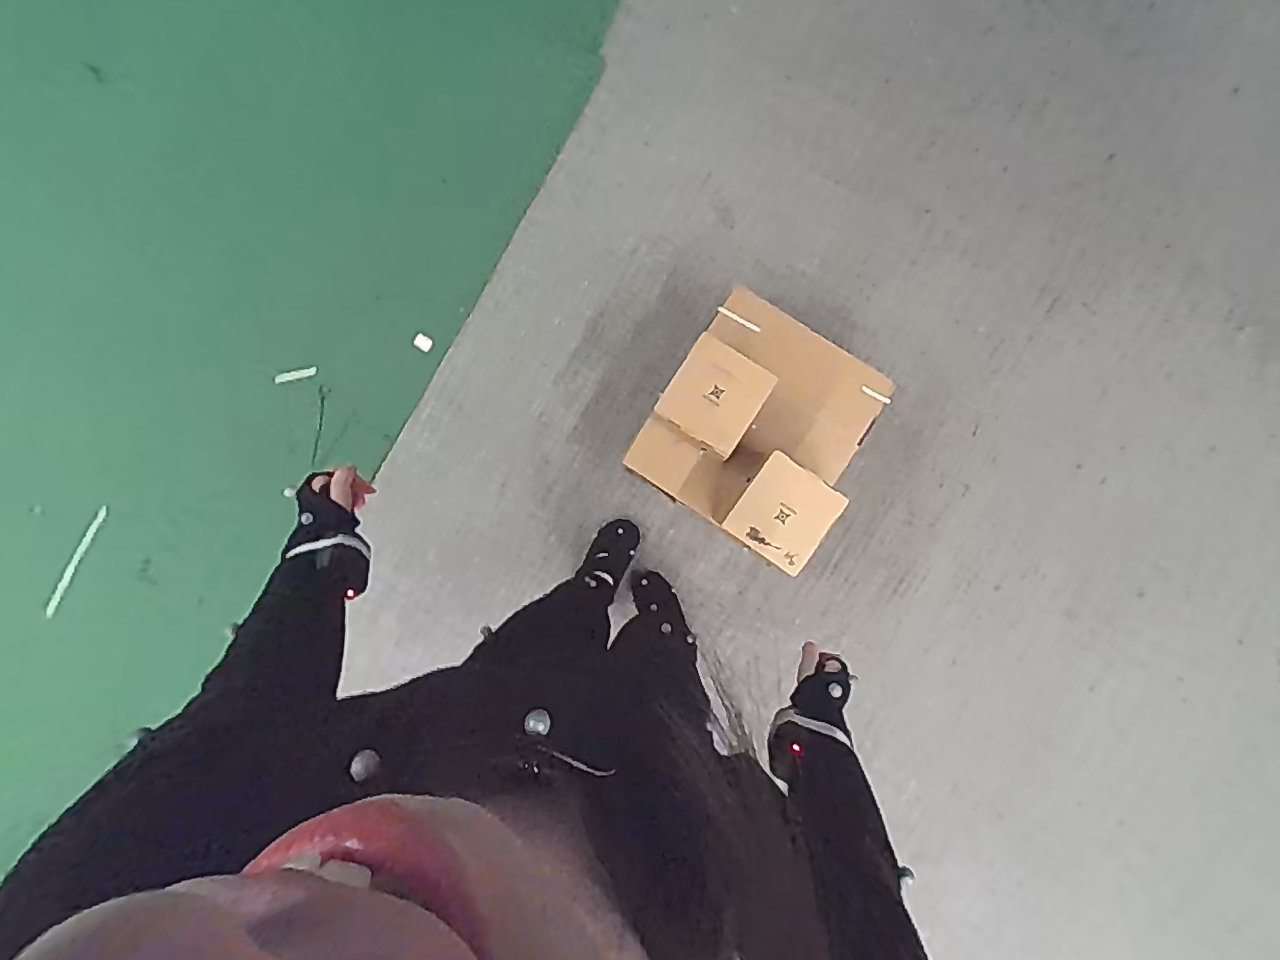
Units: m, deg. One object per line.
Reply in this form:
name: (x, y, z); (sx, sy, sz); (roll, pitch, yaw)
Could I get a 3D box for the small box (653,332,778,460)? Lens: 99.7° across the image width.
small box: (0.142, -0.153, 1.061); (0.168, 0.176, 0.179); (34, 90, 3)

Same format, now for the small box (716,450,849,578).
small box: (0.262, 0.061, 1.049); (0.168, 0.176, 0.179); (36, 90, 2)
